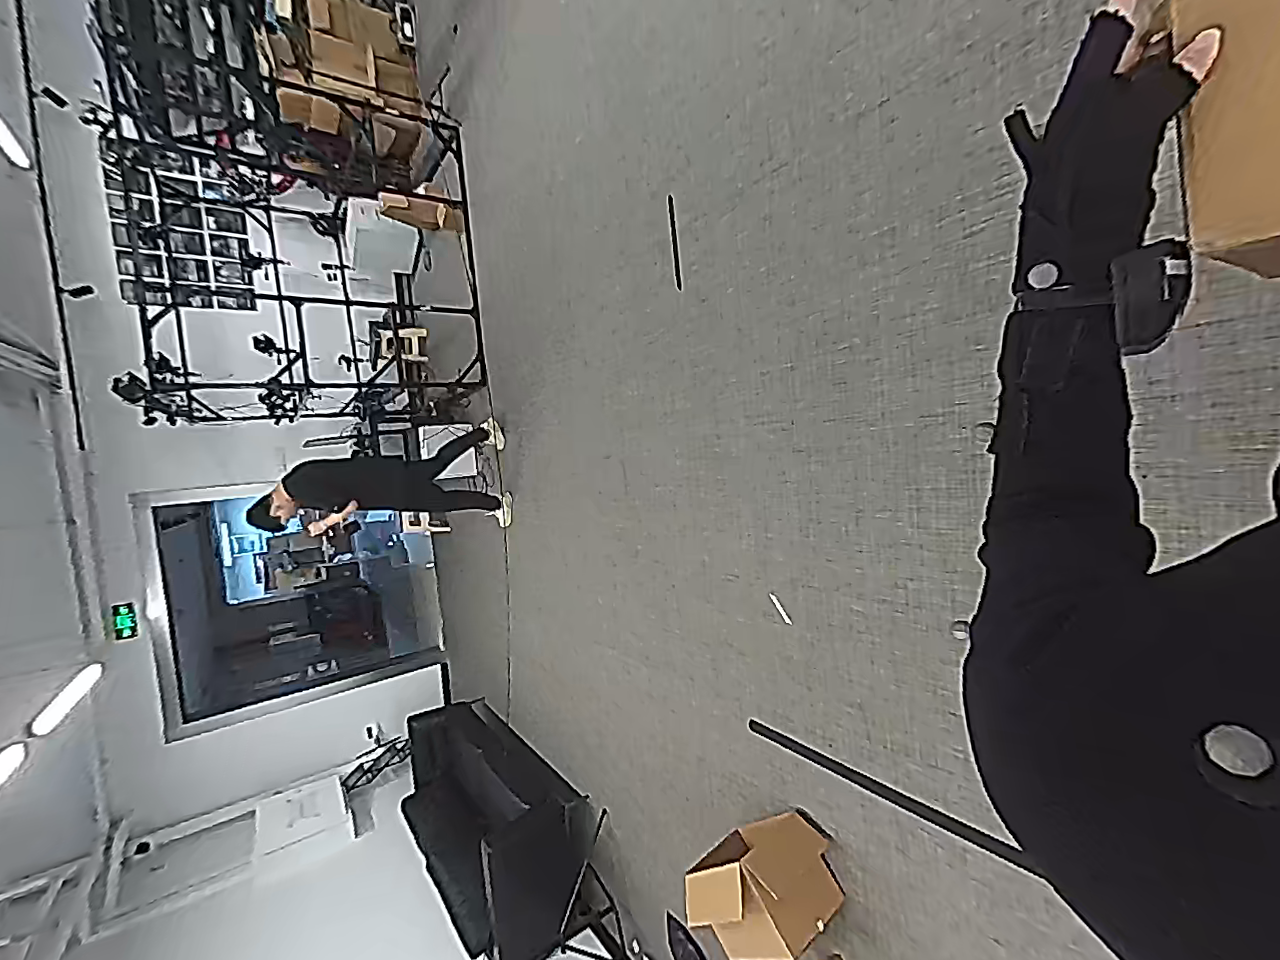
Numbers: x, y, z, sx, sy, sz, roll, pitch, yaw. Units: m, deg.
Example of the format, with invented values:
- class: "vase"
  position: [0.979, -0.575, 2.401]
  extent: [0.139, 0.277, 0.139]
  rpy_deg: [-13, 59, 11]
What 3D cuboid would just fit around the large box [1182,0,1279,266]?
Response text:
- class: "large box"
  position: [0.536, -0.324, 0.233]
  extent: [0.408, 0.320, 0.320]
  rpy_deg: [-4, 98, 54]
